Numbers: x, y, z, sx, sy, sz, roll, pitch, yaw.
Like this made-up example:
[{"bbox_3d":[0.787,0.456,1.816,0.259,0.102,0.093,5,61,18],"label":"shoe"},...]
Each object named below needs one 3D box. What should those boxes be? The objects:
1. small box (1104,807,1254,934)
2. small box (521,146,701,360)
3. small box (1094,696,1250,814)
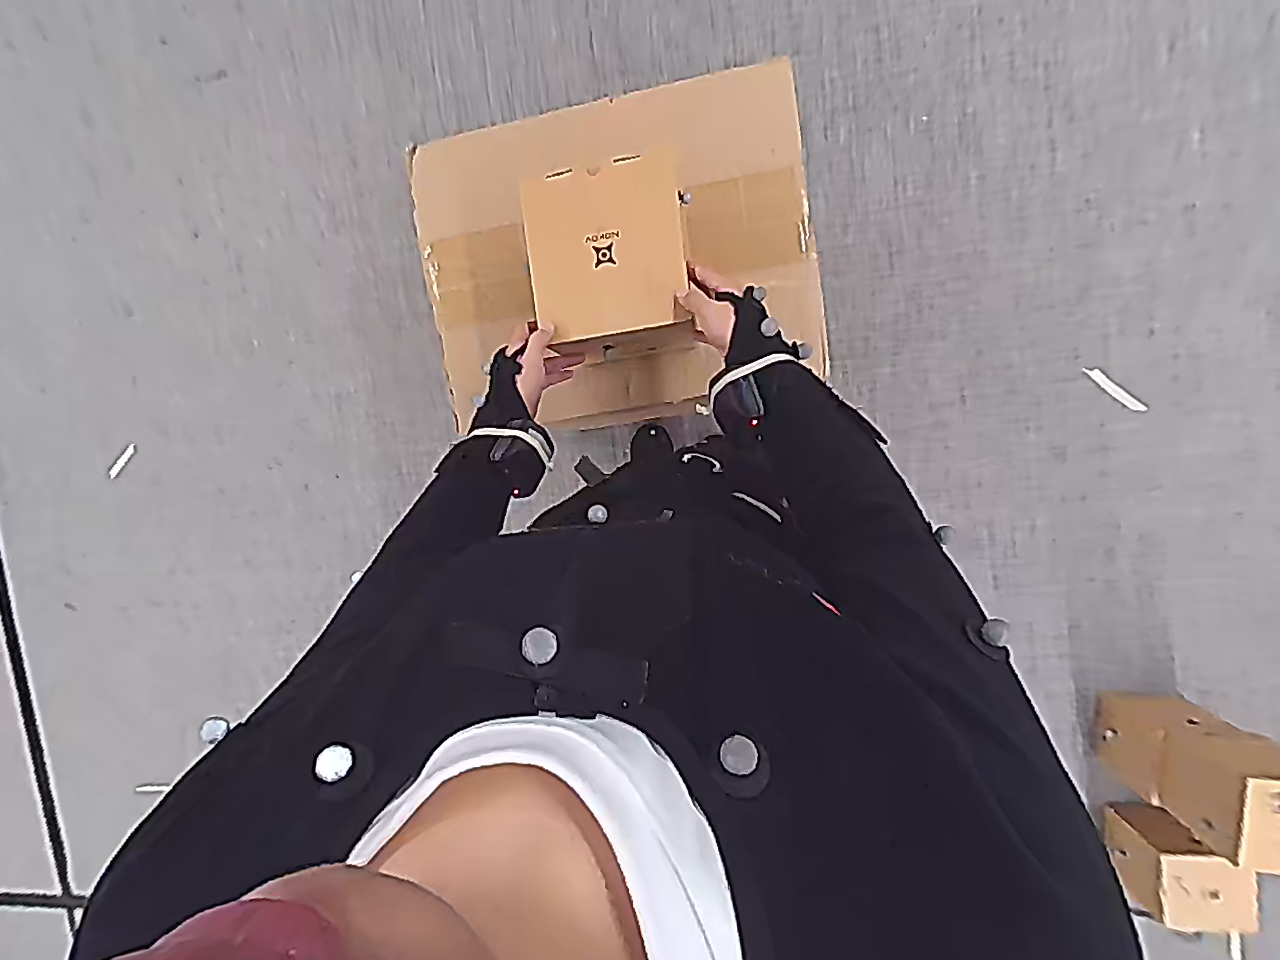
[{"bbox_3d":[1.185,0.855,1.199,0.179,0.176,0.168,-4,92,8],"label":"small box"},{"bbox_3d":[-0.022,-0.243,0.631,0.168,0.176,0.179,-7,92,9],"label":"small box"},{"bbox_3d":[1.153,0.592,1.184,0.179,0.176,0.168,1,94,9],"label":"small box"}]
